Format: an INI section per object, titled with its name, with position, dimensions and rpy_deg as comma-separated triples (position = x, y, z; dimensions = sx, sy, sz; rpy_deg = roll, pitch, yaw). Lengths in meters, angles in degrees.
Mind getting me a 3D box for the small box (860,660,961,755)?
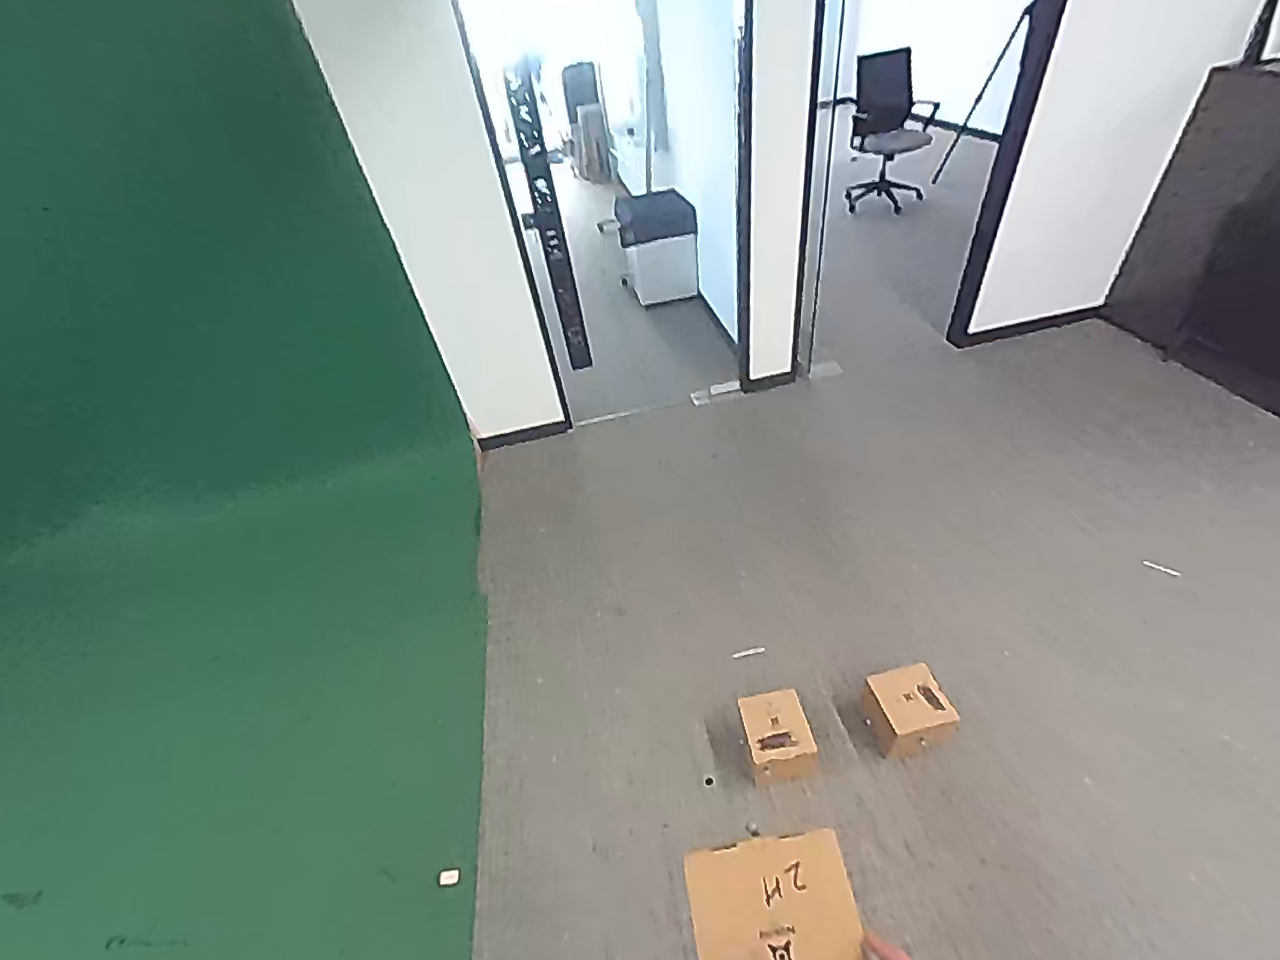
[small box]
position = 0.731, 0.625, 1.484
dimensions = 0.179, 0.176, 0.168
rpy_deg = -13, 42, -3
